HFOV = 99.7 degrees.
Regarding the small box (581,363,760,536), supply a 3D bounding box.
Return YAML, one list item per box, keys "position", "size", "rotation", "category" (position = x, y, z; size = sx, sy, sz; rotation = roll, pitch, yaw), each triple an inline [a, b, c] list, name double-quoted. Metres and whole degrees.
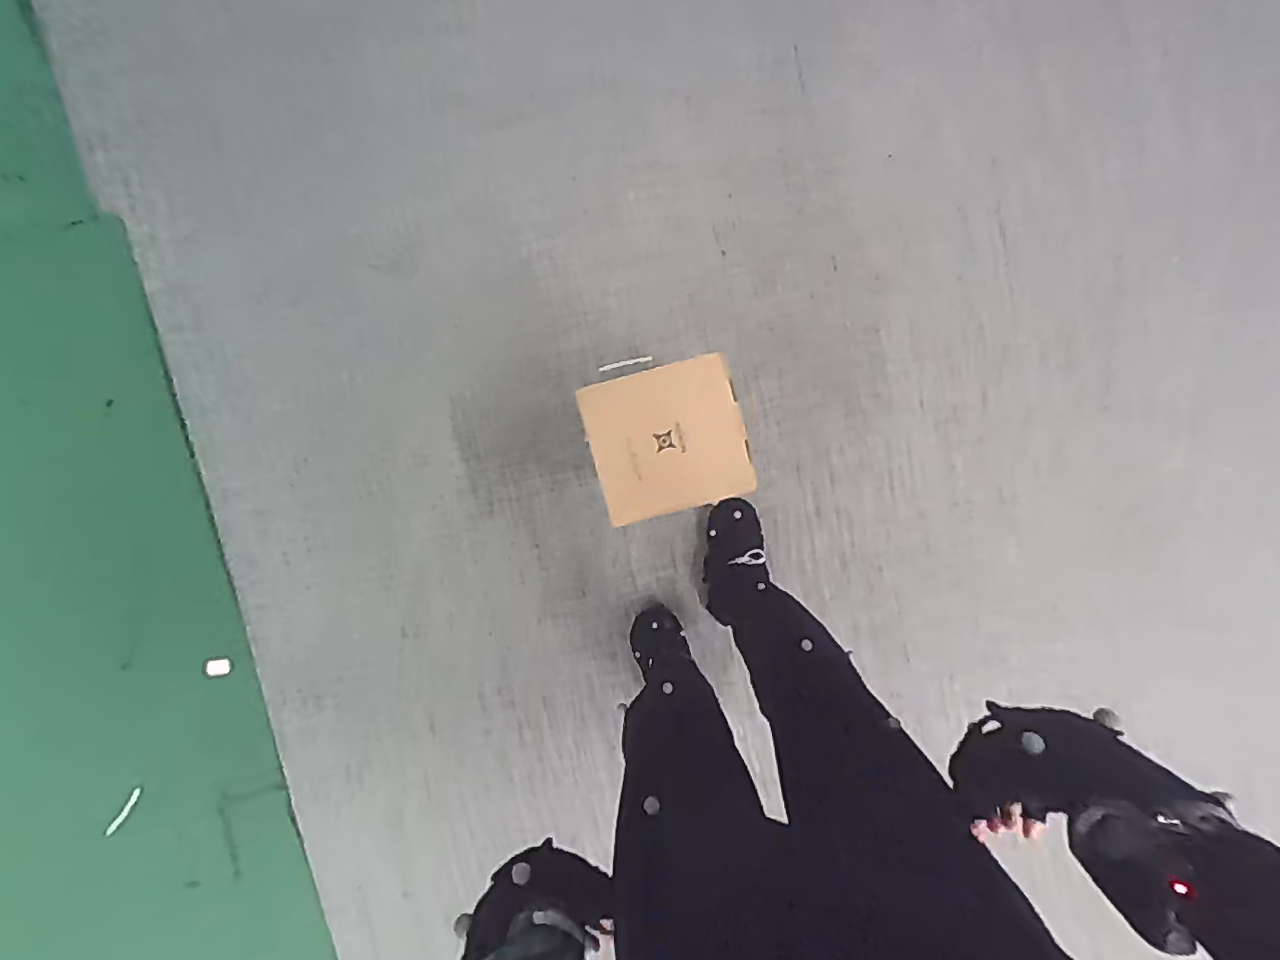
- position: [0.035, -0.040, 0.696]
  size: [0.179, 0.176, 0.168]
  rotation: [-16, 93, 2]
  category: "small box"
